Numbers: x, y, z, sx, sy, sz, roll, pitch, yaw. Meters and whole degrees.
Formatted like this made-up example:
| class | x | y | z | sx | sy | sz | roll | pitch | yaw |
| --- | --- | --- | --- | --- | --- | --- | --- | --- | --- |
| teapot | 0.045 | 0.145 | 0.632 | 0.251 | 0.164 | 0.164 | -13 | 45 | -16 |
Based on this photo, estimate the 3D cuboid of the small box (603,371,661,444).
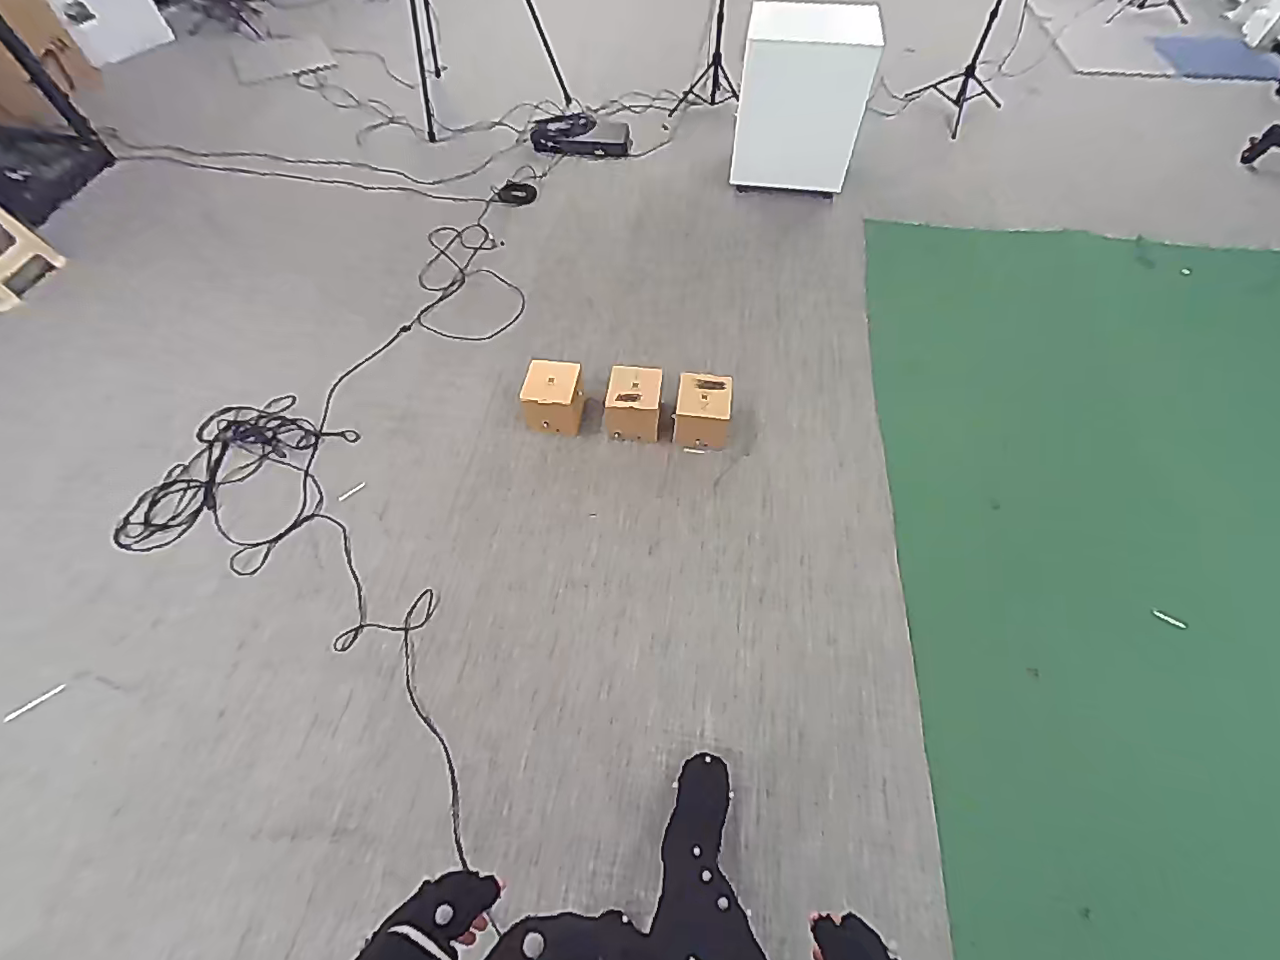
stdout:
| class | x | y | z | sx | sy | sz | roll | pitch | yaw |
| --- | --- | --- | --- | --- | --- | --- | --- | --- | --- |
| small box | -0.020 | -0.235 | 1.779 | 0.168 | 0.176 | 0.179 | 5 | 56 | 5 |

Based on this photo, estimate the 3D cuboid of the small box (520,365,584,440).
| class | x | y | z | sx | sy | sz | roll | pitch | yaw |
| --- | --- | --- | --- | --- | --- | --- | --- | --- | --- |
| small box | -0.284 | -0.257 | 1.802 | 0.168 | 0.176 | 0.179 | 6 | 57 | 6 |
